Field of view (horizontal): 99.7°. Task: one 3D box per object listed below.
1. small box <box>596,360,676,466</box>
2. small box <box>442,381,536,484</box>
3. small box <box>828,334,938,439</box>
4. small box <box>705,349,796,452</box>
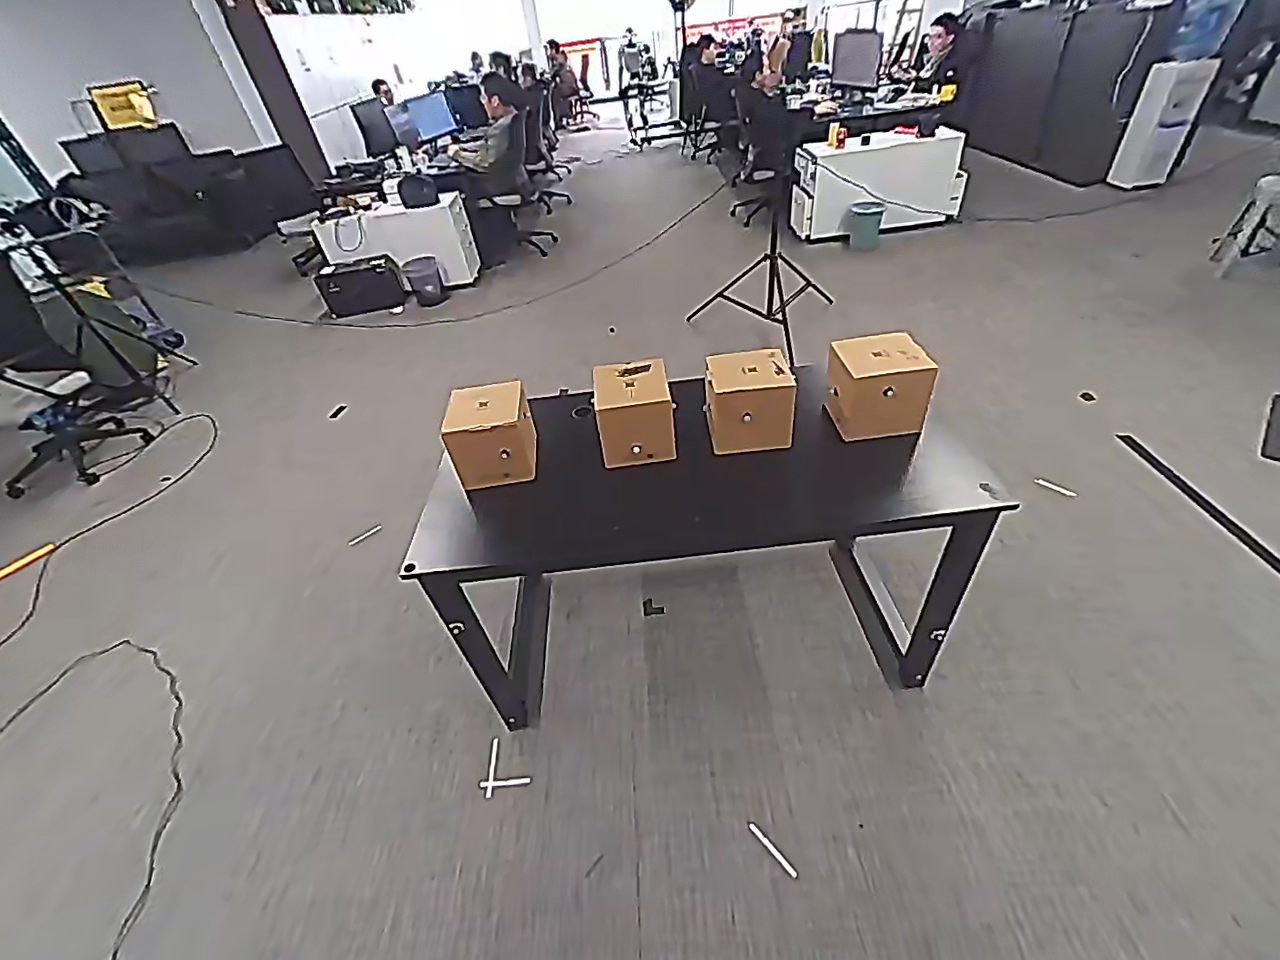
[{"bbox_3d":[-0.010,-0.154,1.251,0.168,0.176,0.179,-7,42,1],"label":"small box"},{"bbox_3d":[-0.339,-0.105,1.249,0.168,0.176,0.179,-8,40,-2],"label":"small box"},{"bbox_3d":[0.535,-0.208,1.220,0.179,0.176,0.168,-7,41,3],"label":"small box"},{"bbox_3d":[0.249,-0.178,1.237,0.179,0.176,0.168,-6,41,4],"label":"small box"}]
